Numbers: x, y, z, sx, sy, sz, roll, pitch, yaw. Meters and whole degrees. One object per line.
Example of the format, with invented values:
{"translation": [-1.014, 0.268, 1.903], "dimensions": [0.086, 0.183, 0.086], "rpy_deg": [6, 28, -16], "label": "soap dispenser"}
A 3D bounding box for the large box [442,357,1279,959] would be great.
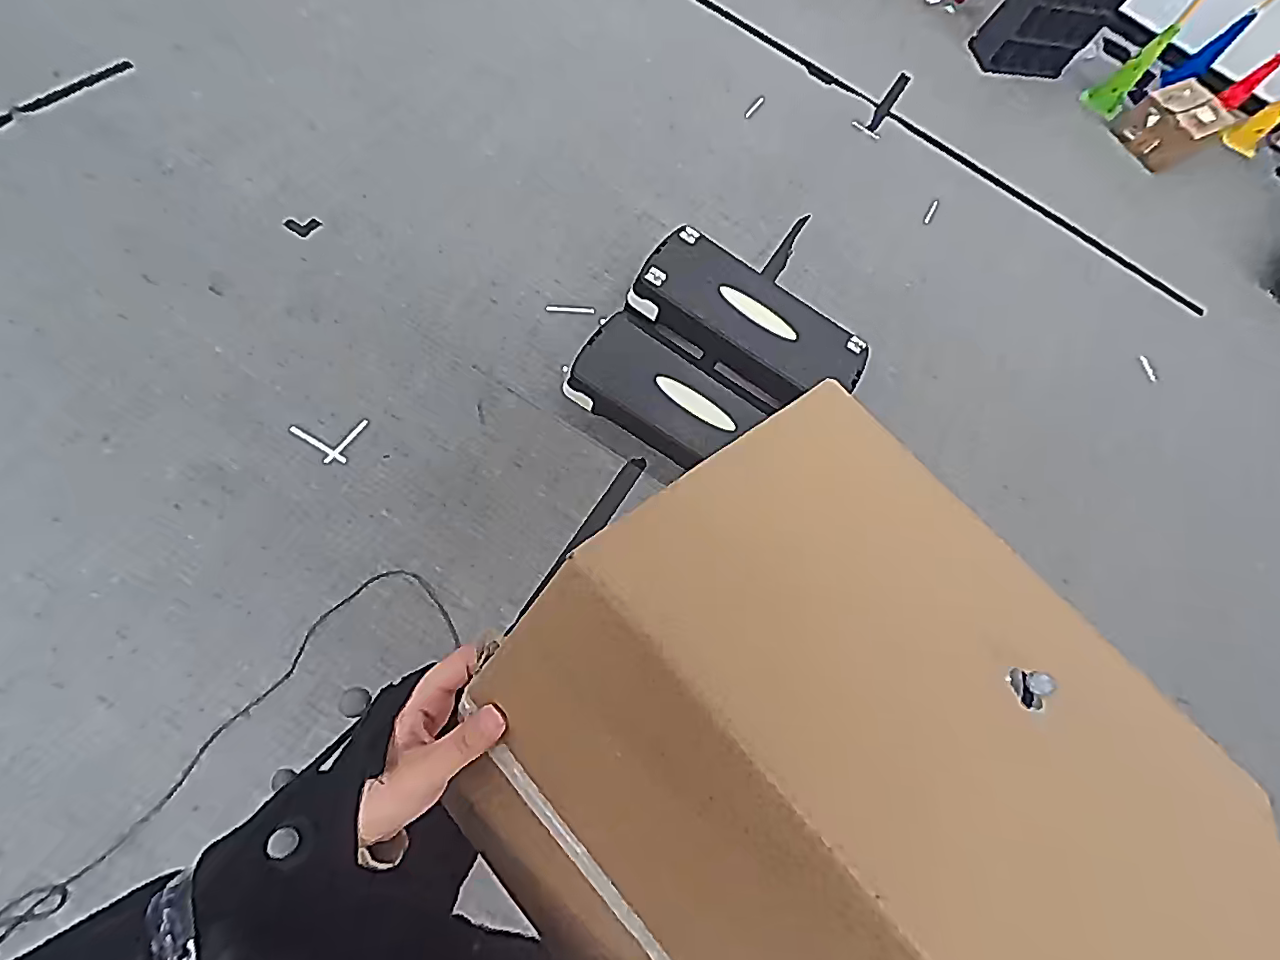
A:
{"translation": [0.142, 0.180, 0.373], "dimensions": [0.408, 0.320, 0.320], "rpy_deg": [46, 42, 10], "label": "large box"}

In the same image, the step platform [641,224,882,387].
{"translation": [0.340, -0.419, 1.548], "dimensions": [0.684, 0.204, 0.286], "rpy_deg": [39, 66, 3], "label": "step platform"}
